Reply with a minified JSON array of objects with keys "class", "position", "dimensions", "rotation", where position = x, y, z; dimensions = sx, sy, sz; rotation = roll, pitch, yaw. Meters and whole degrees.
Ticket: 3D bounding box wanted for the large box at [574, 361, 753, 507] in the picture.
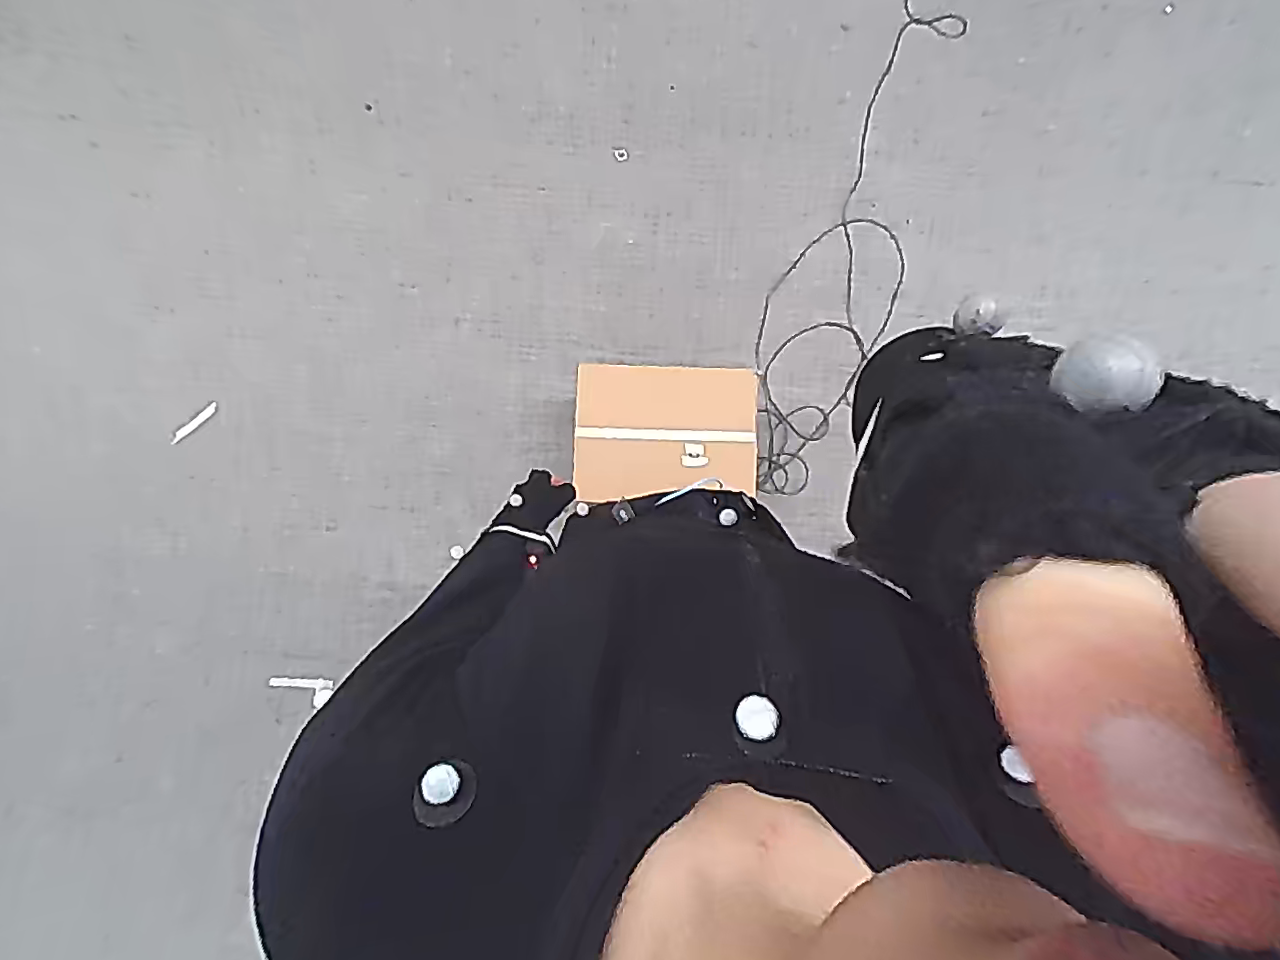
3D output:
[{"class":"large box","position":[0.052,-0.097,1.361],"dimensions":[0.408,0.320,0.320],"rotation":[2,86,0]}]
